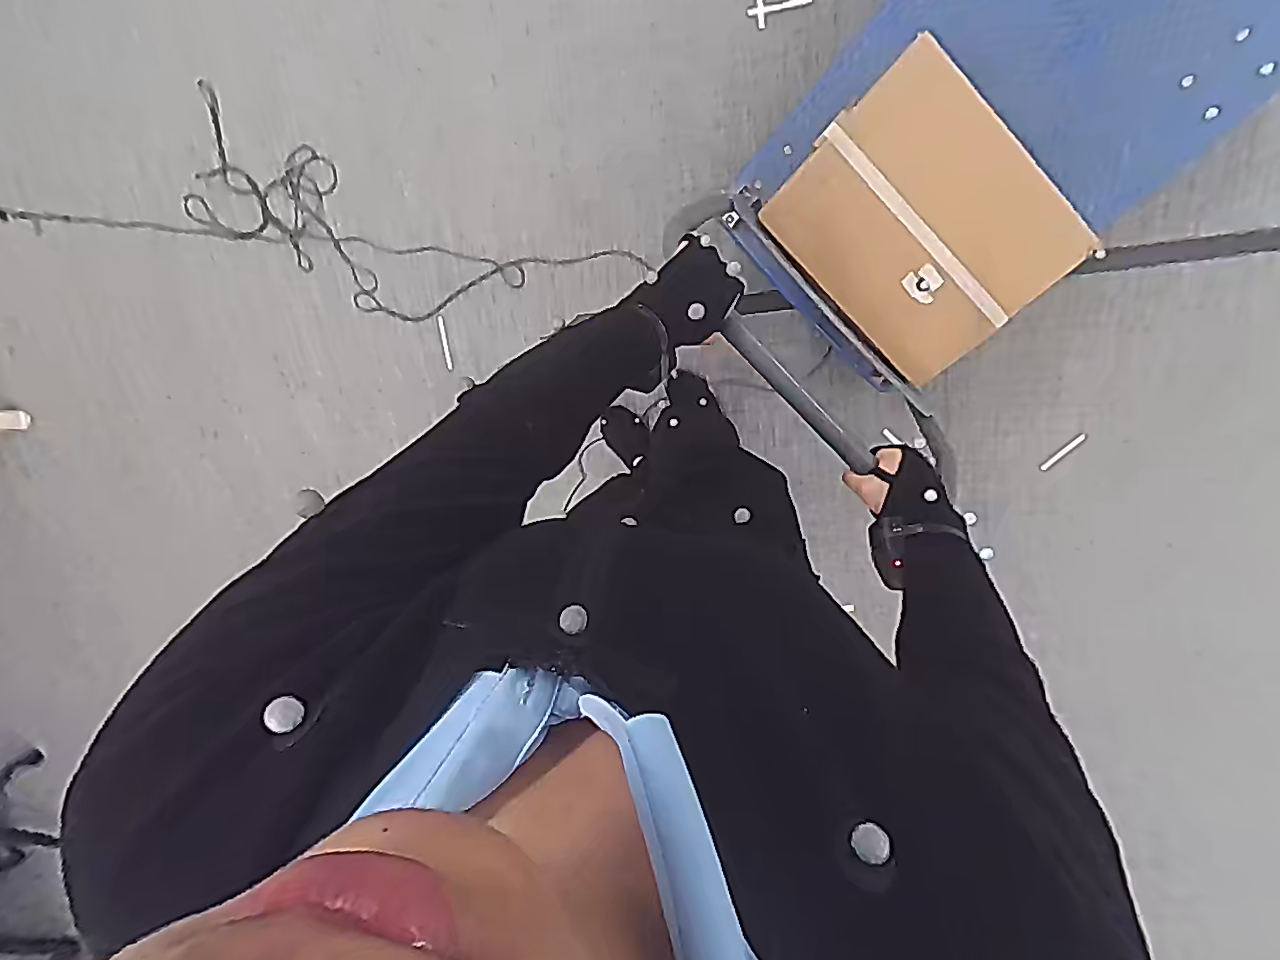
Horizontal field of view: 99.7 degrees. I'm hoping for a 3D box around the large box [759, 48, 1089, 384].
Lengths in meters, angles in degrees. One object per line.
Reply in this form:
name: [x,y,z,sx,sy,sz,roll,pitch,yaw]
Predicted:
large box: [0.466,-0.451,0.985,0.408,0.320,0.320,43,118,-8]
